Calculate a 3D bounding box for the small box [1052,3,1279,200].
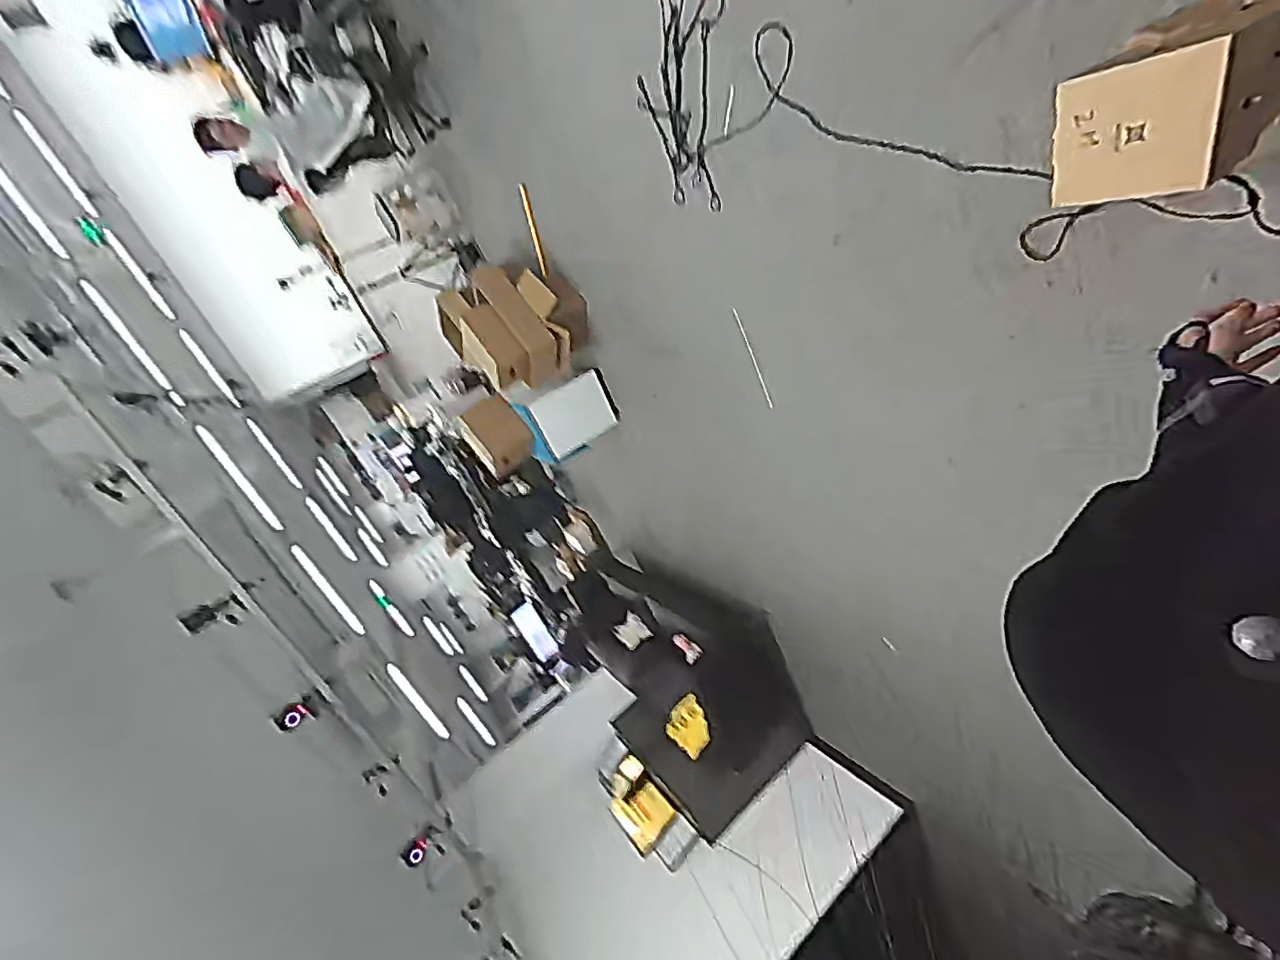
[{"bbox_3d":[0.711,-0.509,0.742,0.179,0.176,0.168,27,144,53],"label":"small box"}]
